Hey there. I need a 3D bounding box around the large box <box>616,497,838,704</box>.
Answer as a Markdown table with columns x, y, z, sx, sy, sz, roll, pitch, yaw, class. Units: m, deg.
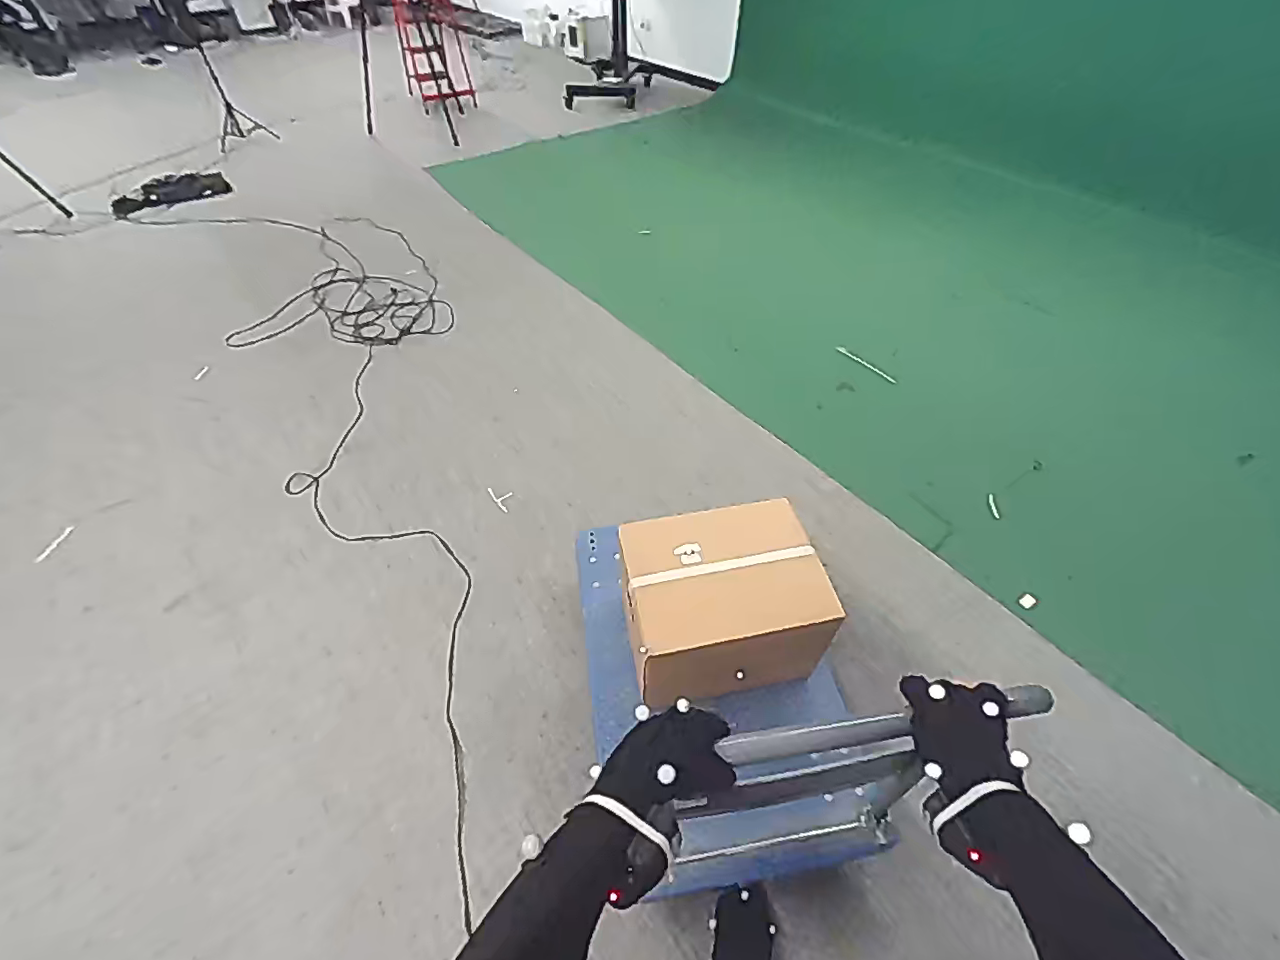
| x | y | z | sx | sy | sz | roll | pitch | yaw | class |
| --- | --- | --- | --- | --- | --- | --- | --- | --- | --- |
| 0.174 | 0.281 | 1.255 | 0.408 | 0.320 | 0.320 | -10 | 49 | -8 | large box |
